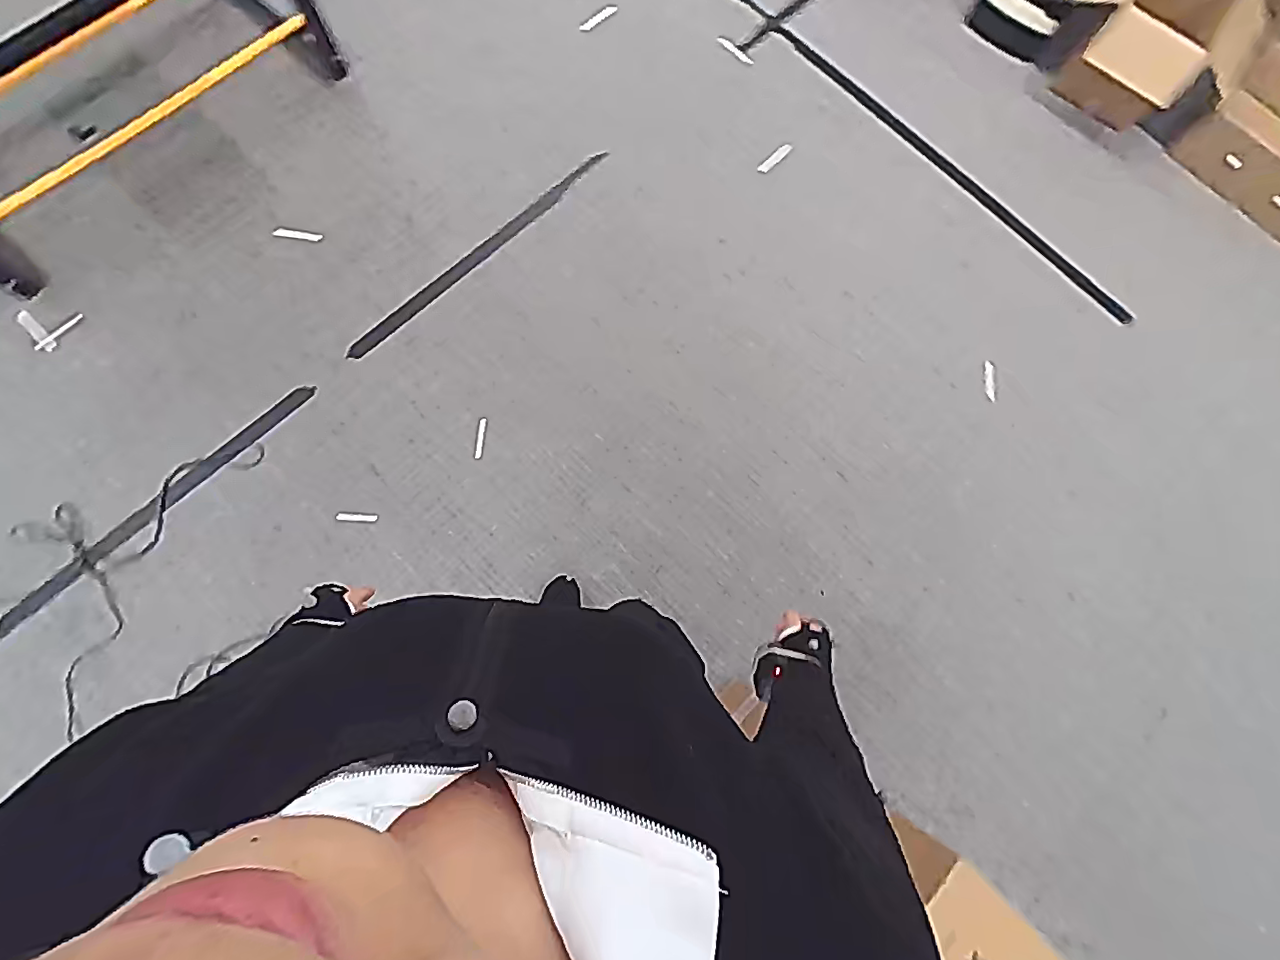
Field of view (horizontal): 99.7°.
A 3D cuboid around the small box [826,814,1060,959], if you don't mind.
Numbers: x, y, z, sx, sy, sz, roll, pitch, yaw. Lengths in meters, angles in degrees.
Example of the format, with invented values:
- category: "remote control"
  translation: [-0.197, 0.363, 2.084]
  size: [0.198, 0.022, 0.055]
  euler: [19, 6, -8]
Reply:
- category: "small box"
  translation: [0.391, 0.597, 0.728]
  size: [0.168, 0.176, 0.179]
  euler: [-43, 82, -14]
